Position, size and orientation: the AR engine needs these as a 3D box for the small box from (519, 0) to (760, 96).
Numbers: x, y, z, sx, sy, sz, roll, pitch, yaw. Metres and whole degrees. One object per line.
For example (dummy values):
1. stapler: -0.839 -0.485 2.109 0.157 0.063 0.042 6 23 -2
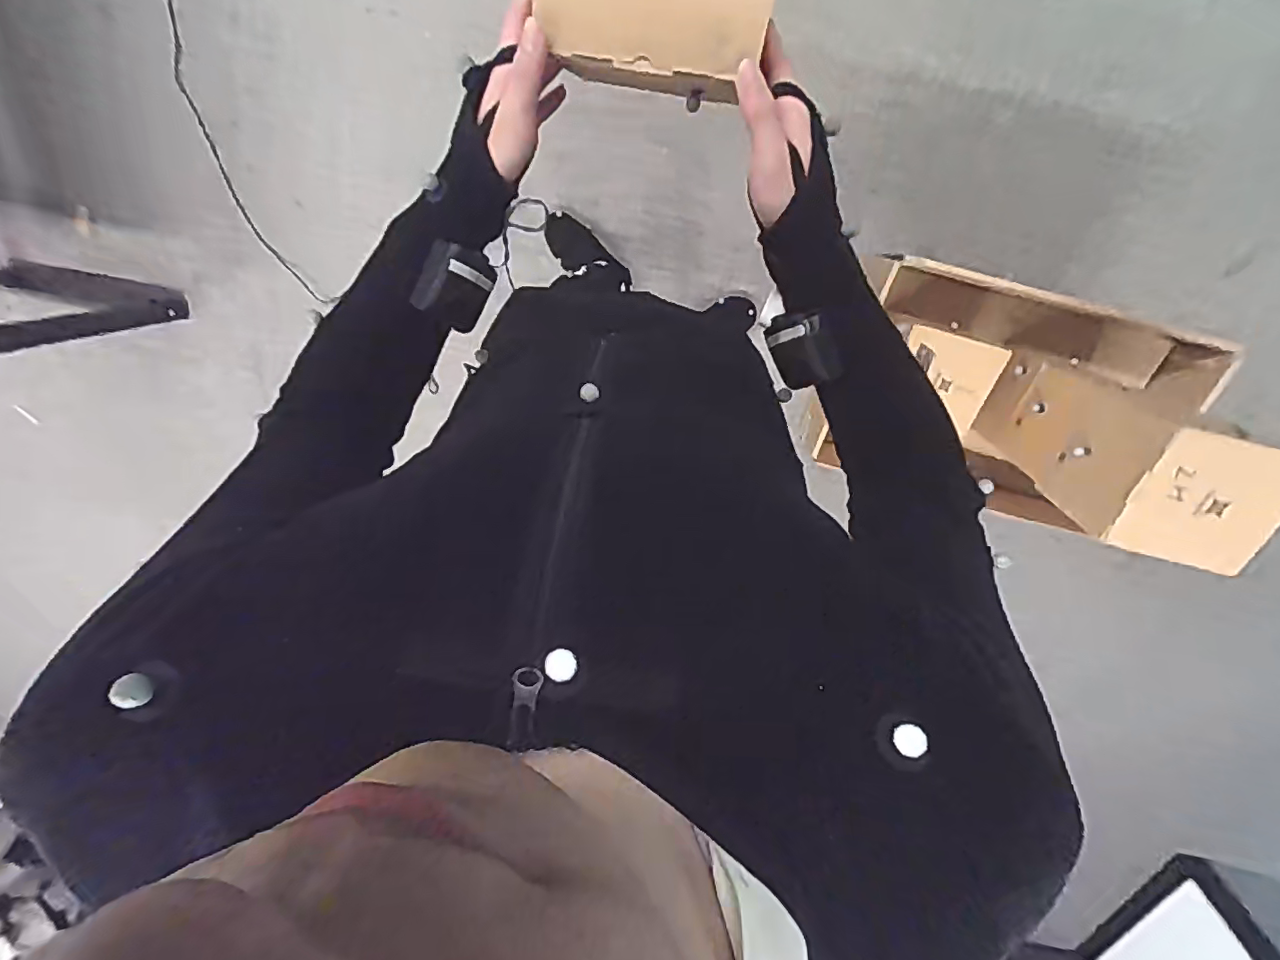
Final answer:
1. small box: 0.015 -0.409 0.408 0.168 0.176 0.179 10 122 3

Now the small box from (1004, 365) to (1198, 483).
1. small box: 0.740 -0.071 0.865 0.179 0.176 0.168 16 117 2

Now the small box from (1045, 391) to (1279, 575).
1. small box: 0.703 -0.005 0.718 0.179 0.176 0.168 15 116 3

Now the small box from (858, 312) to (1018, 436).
1. small box: 0.534 -0.204 1.003 0.179 0.176 0.168 15 117 -2
